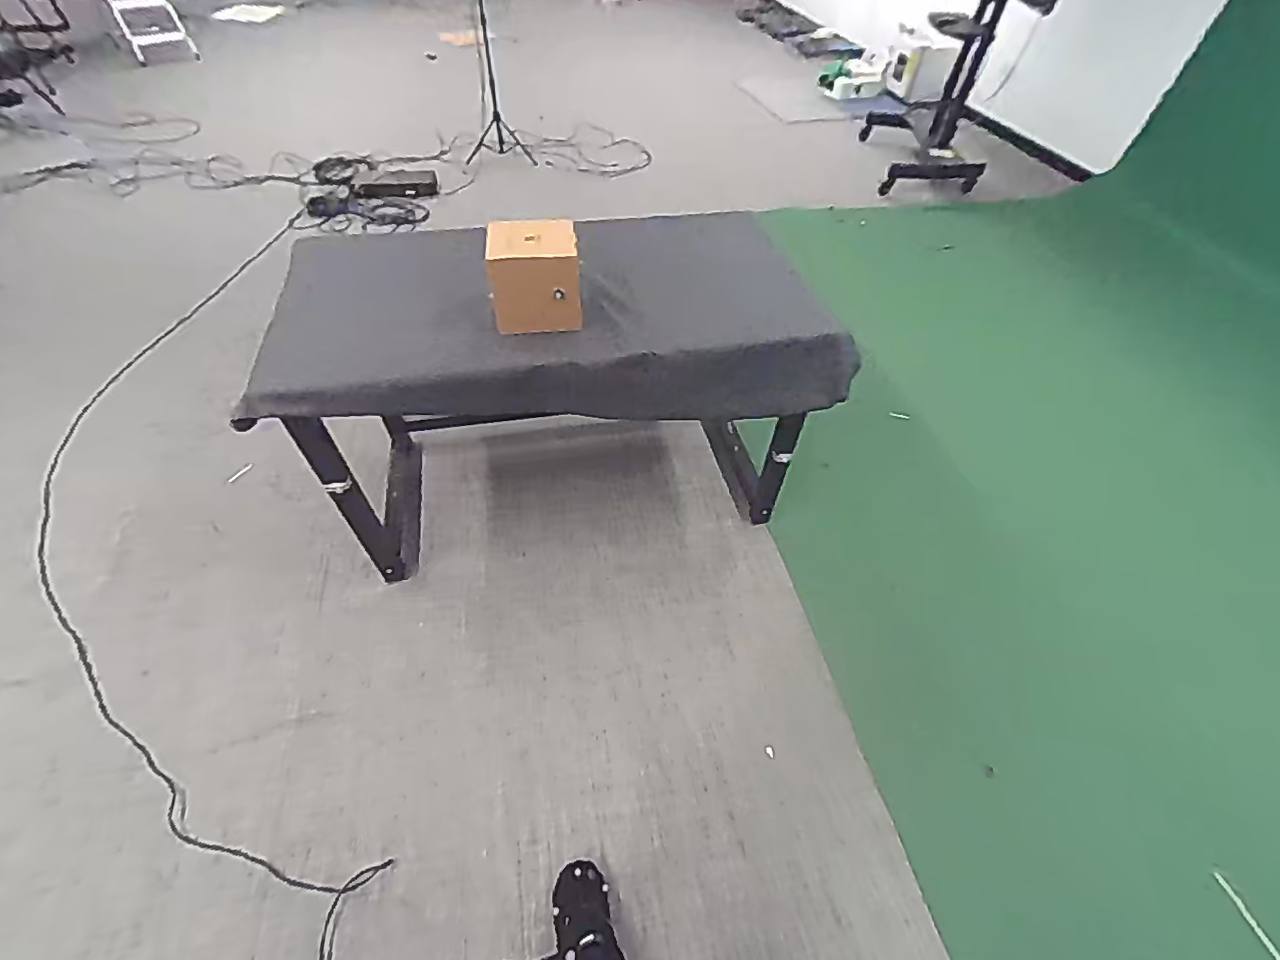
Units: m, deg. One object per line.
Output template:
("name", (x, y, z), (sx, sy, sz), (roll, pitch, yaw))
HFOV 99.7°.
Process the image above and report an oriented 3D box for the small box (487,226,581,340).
("small box", (-0.218, -0.417, 1.149), (0.179, 0.176, 0.168), (-7, 48, -6))
